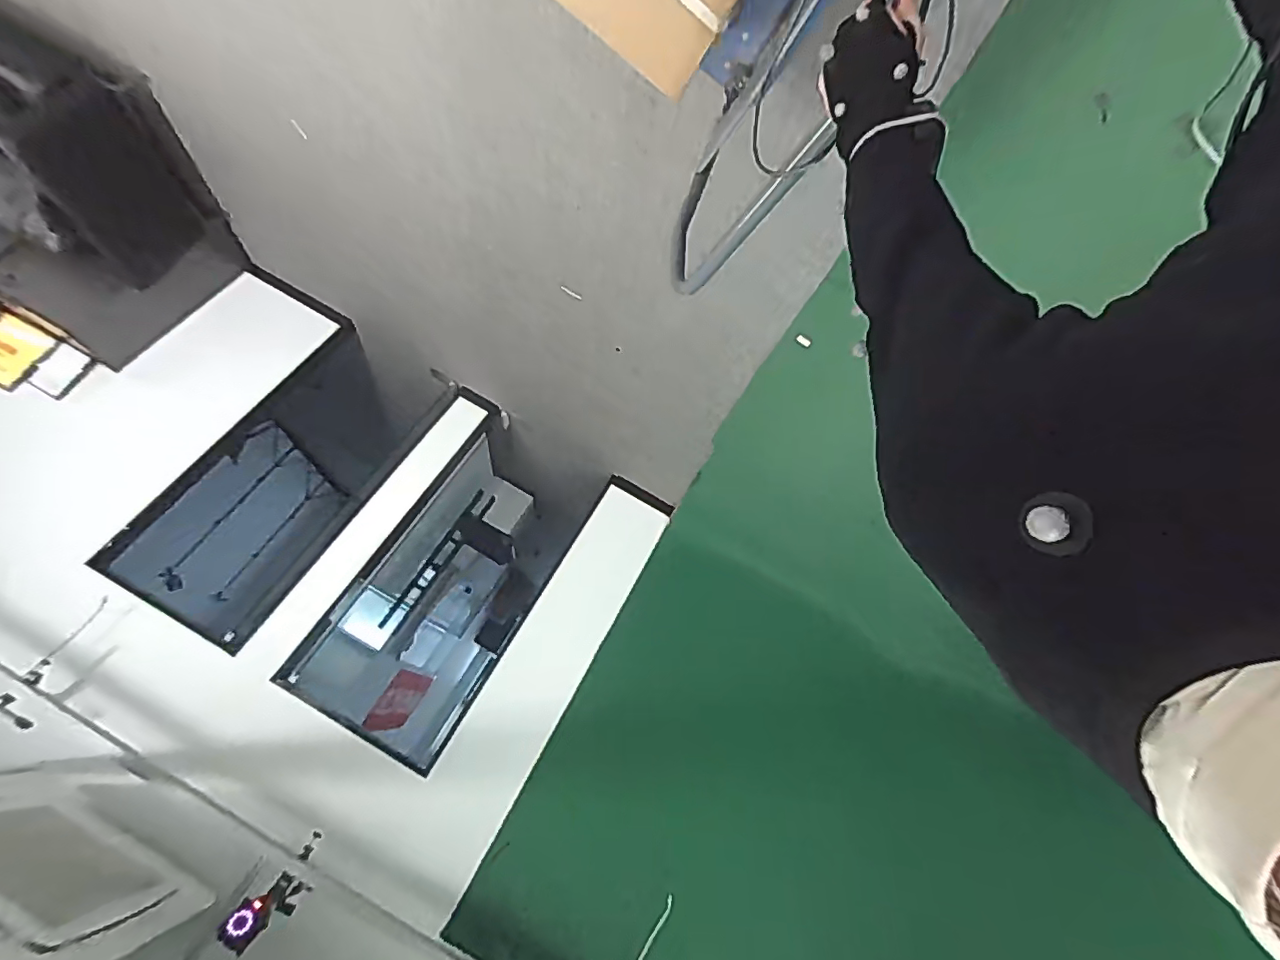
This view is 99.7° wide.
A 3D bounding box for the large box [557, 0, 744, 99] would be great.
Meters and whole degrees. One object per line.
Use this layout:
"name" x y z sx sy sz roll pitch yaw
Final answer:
"large box" 0.032 -0.975 0.903 0.408 0.320 0.320 31 154 -16
